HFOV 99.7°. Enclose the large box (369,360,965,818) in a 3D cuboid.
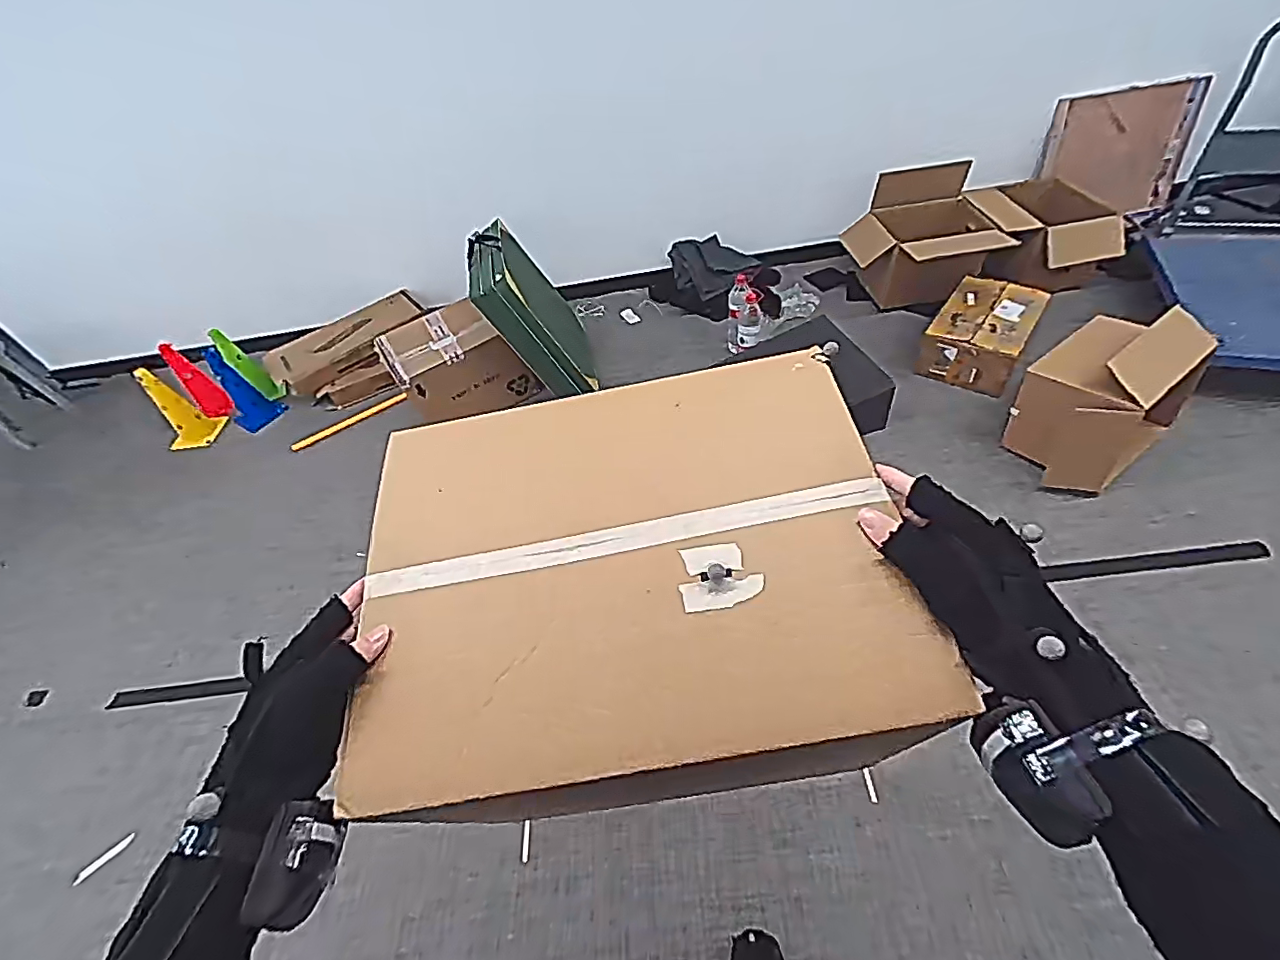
[{"bbox_3d":[0.012,0.130,0.553,0.408,0.320,0.320,-11,57,2],"label":"large box"}]
